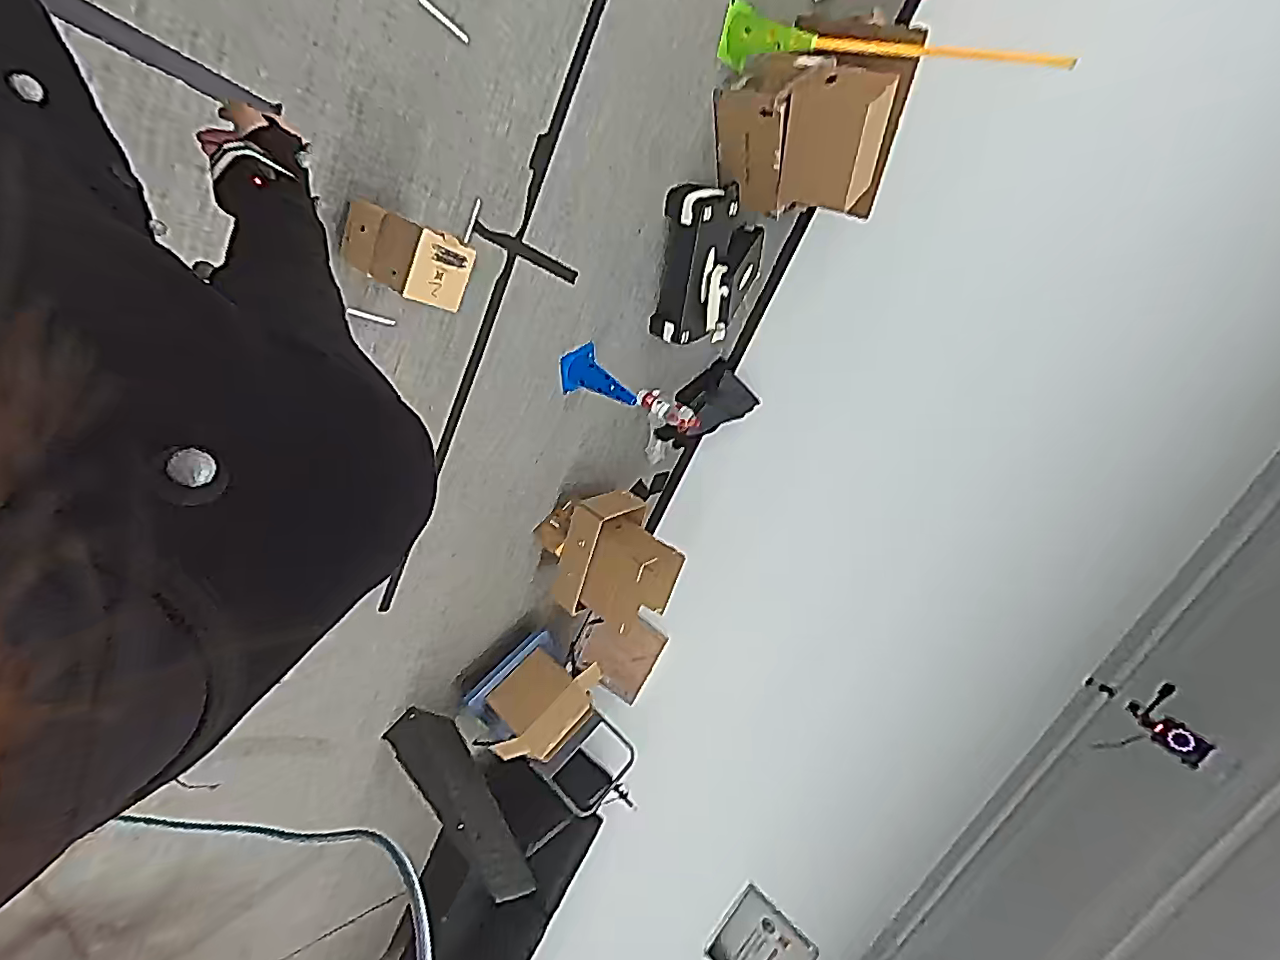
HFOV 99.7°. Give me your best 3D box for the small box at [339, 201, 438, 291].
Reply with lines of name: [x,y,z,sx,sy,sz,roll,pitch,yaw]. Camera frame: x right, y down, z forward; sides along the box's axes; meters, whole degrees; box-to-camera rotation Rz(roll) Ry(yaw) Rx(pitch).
small box: [-0.698,-0.648,1.494,0.179,0.176,0.168,-6,125,-56]
